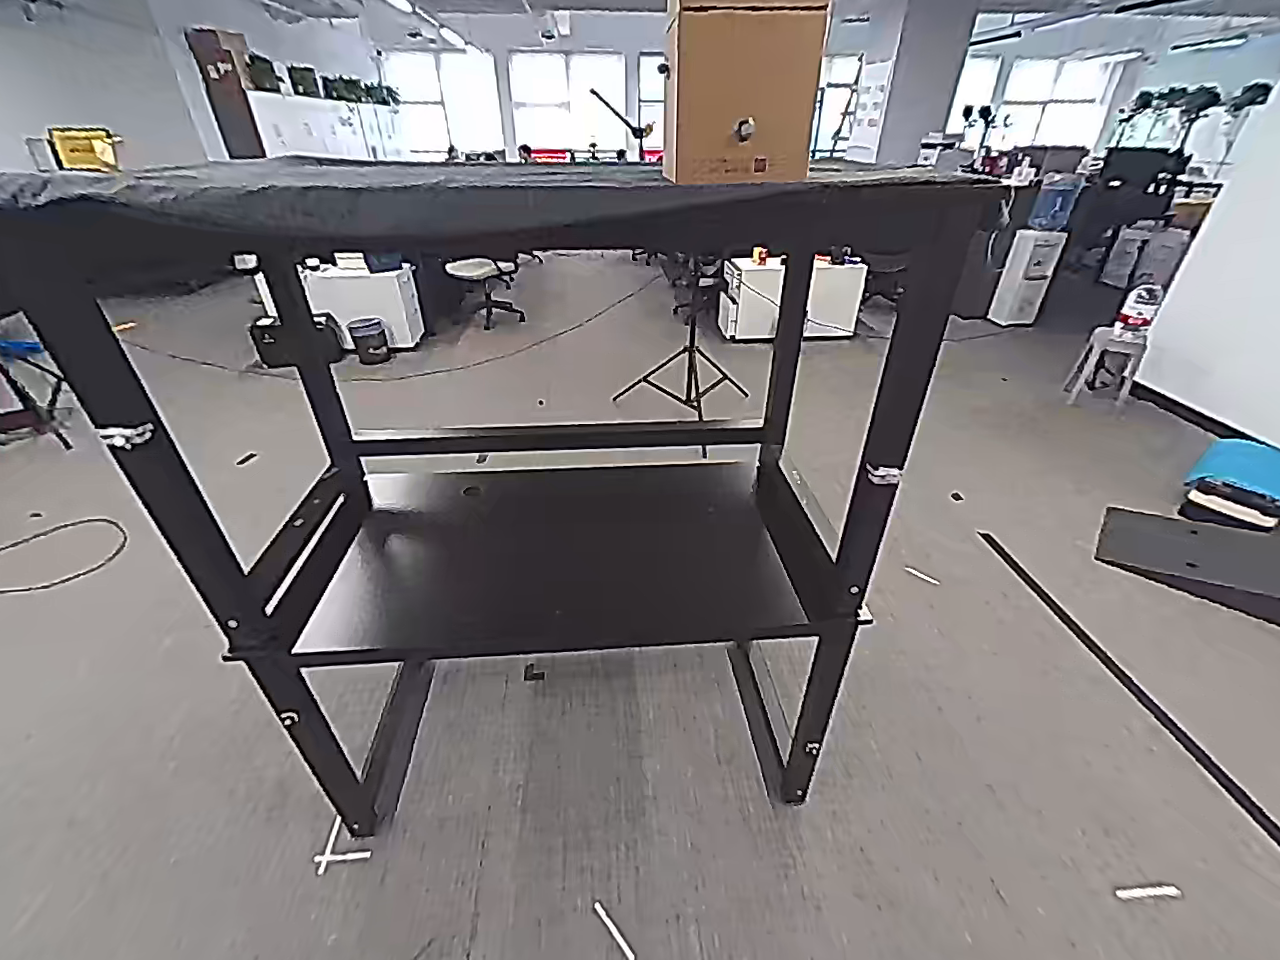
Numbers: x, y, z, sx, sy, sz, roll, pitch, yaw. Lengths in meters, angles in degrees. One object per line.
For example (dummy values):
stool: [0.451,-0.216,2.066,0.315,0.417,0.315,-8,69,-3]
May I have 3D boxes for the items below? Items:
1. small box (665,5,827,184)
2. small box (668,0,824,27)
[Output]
small box: [0.120,-0.481,0.694,0.168,0.176,0.179,-3,32,-2]
small box: [0.119,-0.621,0.608,0.168,0.176,0.179,-2,33,-2]
